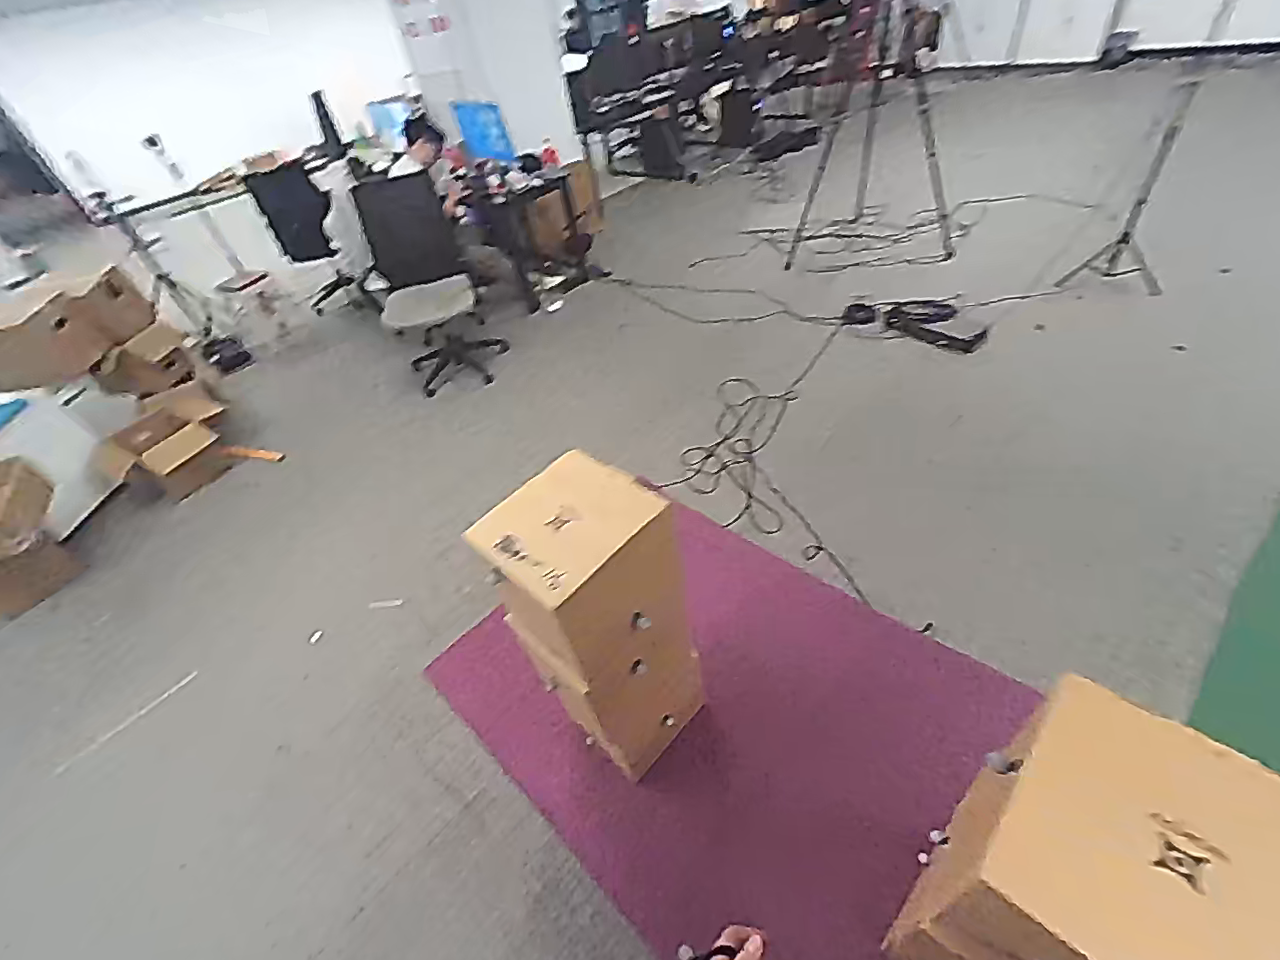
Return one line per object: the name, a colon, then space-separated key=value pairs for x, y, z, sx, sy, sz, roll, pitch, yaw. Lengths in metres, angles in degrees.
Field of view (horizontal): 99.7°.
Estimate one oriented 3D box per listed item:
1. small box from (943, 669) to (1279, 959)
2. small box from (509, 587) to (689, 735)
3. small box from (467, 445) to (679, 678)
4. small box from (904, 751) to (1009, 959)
small box: x=0.332 y=0.278 z=0.369 sx=0.168 sy=0.176 sz=0.179 roll=28 pitch=55 yaw=37
small box: x=-0.047 y=0.216 z=0.757 sx=0.179 sy=0.176 sz=0.168 roll=-39 pitch=49 yaw=-25
small box: x=-0.067 y=0.094 z=0.648 sx=0.168 sy=0.176 sz=0.179 roll=29 pitch=57 yaw=36
small box: x=0.355 y=0.394 z=0.480 sx=0.168 sy=0.176 sz=0.179 roll=27 pitch=55 yaw=36
